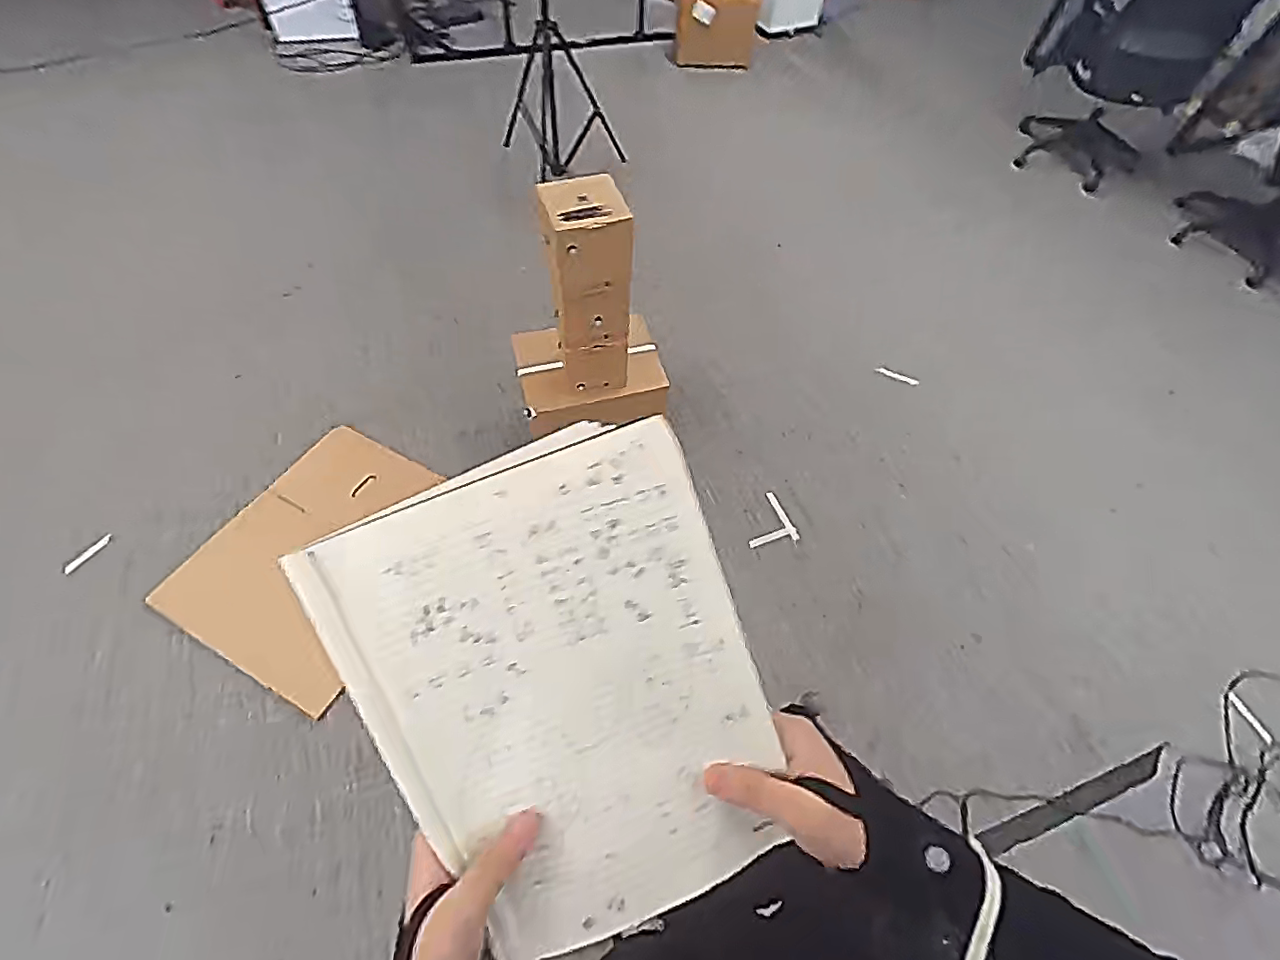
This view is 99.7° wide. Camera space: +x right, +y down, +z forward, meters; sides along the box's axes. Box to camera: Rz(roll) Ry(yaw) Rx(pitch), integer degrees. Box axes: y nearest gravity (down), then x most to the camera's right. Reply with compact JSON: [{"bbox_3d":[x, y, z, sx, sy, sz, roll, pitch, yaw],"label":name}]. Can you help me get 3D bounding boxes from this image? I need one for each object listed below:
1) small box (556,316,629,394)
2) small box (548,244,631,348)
[{"bbox_3d":[-0.127,-0.352,1.471,0.168,0.176,0.179,-11,59,-10],"label":"small box"},{"bbox_3d":[-0.123,-0.447,1.337,0.168,0.176,0.179,-14,61,-12],"label":"small box"}]
